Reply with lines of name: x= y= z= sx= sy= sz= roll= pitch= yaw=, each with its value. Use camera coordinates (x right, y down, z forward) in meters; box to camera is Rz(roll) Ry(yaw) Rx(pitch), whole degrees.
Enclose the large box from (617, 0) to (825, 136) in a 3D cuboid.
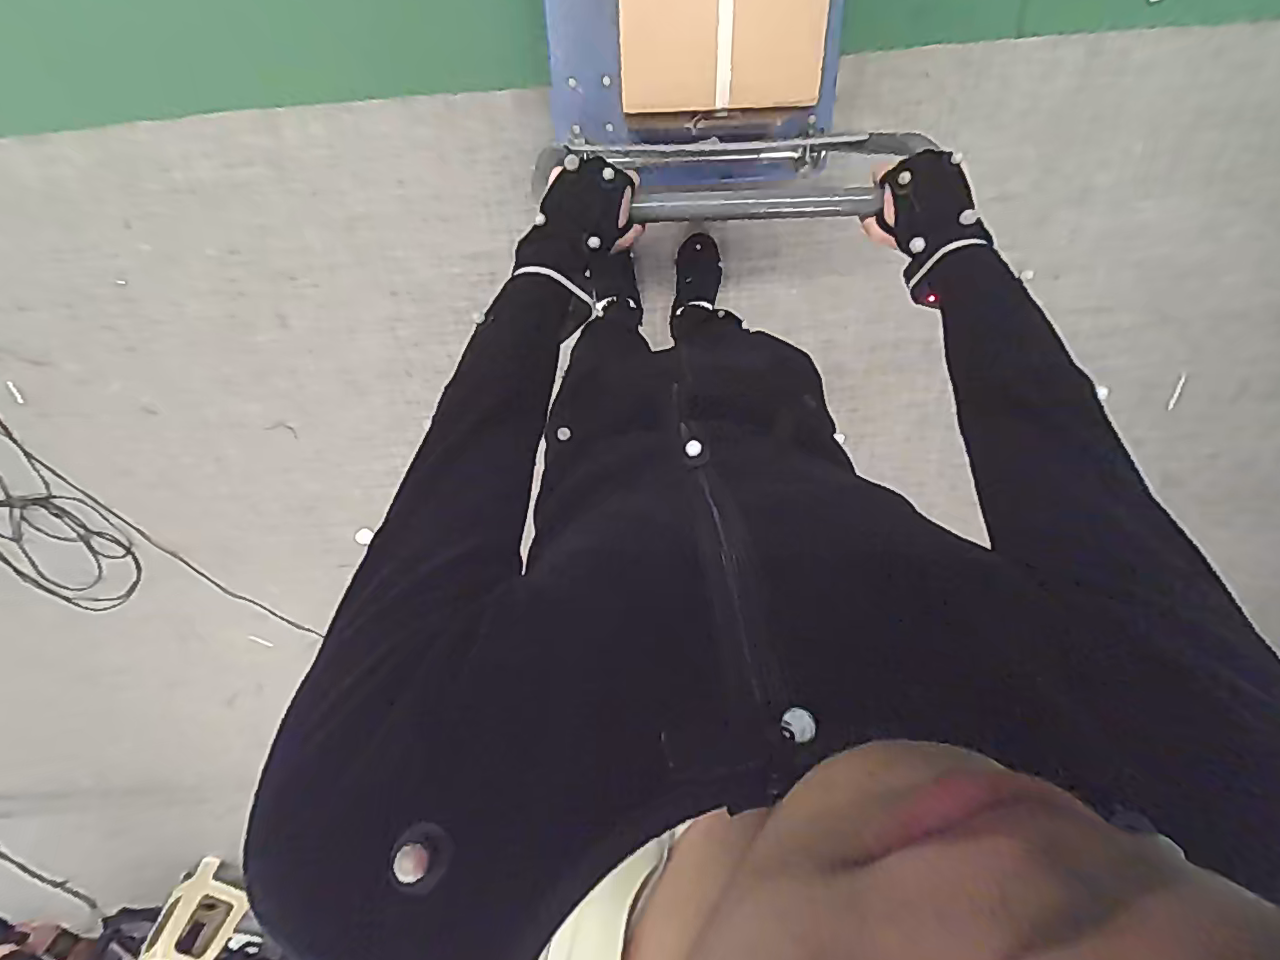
large box: x=0.121 y=-0.832 z=0.906 sx=0.320 sy=0.320 sz=0.408 roll=-2 pitch=118 yaw=0
